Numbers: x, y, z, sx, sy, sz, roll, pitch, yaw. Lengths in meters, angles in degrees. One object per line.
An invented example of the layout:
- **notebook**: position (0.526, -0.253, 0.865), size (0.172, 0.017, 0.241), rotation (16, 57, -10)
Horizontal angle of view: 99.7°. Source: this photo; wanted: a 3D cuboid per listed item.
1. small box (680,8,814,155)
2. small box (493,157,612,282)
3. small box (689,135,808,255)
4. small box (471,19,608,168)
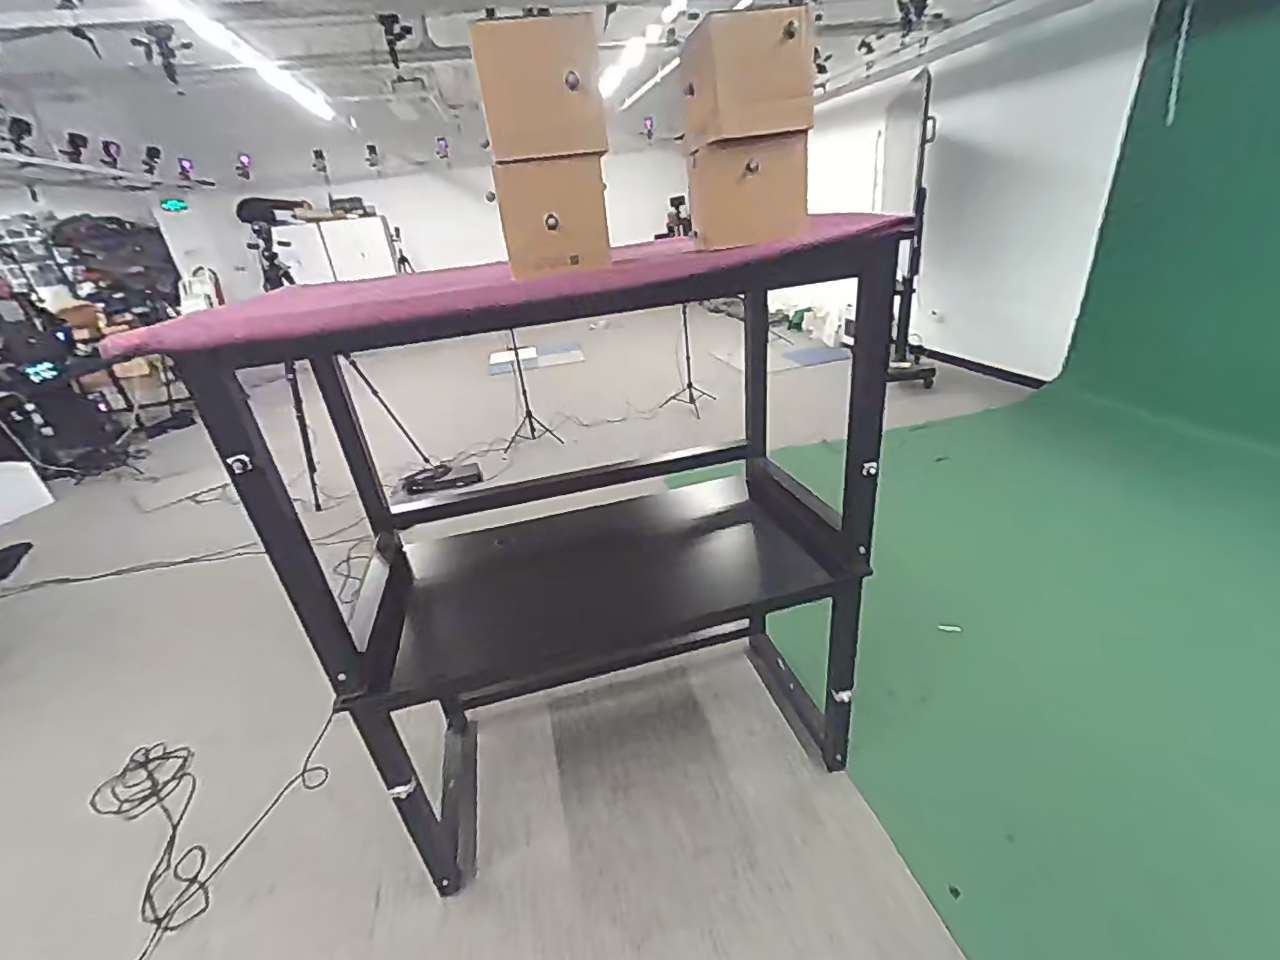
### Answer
- **small box**: position (0.180, -0.657, 0.918), size (0.179, 0.176, 0.168), rotation (-11, 25, -8)
- **small box**: position (-0.145, -0.434, 0.915), size (0.168, 0.176, 0.179), rotation (-9, 26, -8)
- **small box**: position (0.198, -0.517, 1.000), size (0.179, 0.176, 0.168), rotation (-9, 25, -4)
- **small box**: position (-0.148, -0.576, 0.835), size (0.179, 0.176, 0.168), rotation (-11, 26, -7)
